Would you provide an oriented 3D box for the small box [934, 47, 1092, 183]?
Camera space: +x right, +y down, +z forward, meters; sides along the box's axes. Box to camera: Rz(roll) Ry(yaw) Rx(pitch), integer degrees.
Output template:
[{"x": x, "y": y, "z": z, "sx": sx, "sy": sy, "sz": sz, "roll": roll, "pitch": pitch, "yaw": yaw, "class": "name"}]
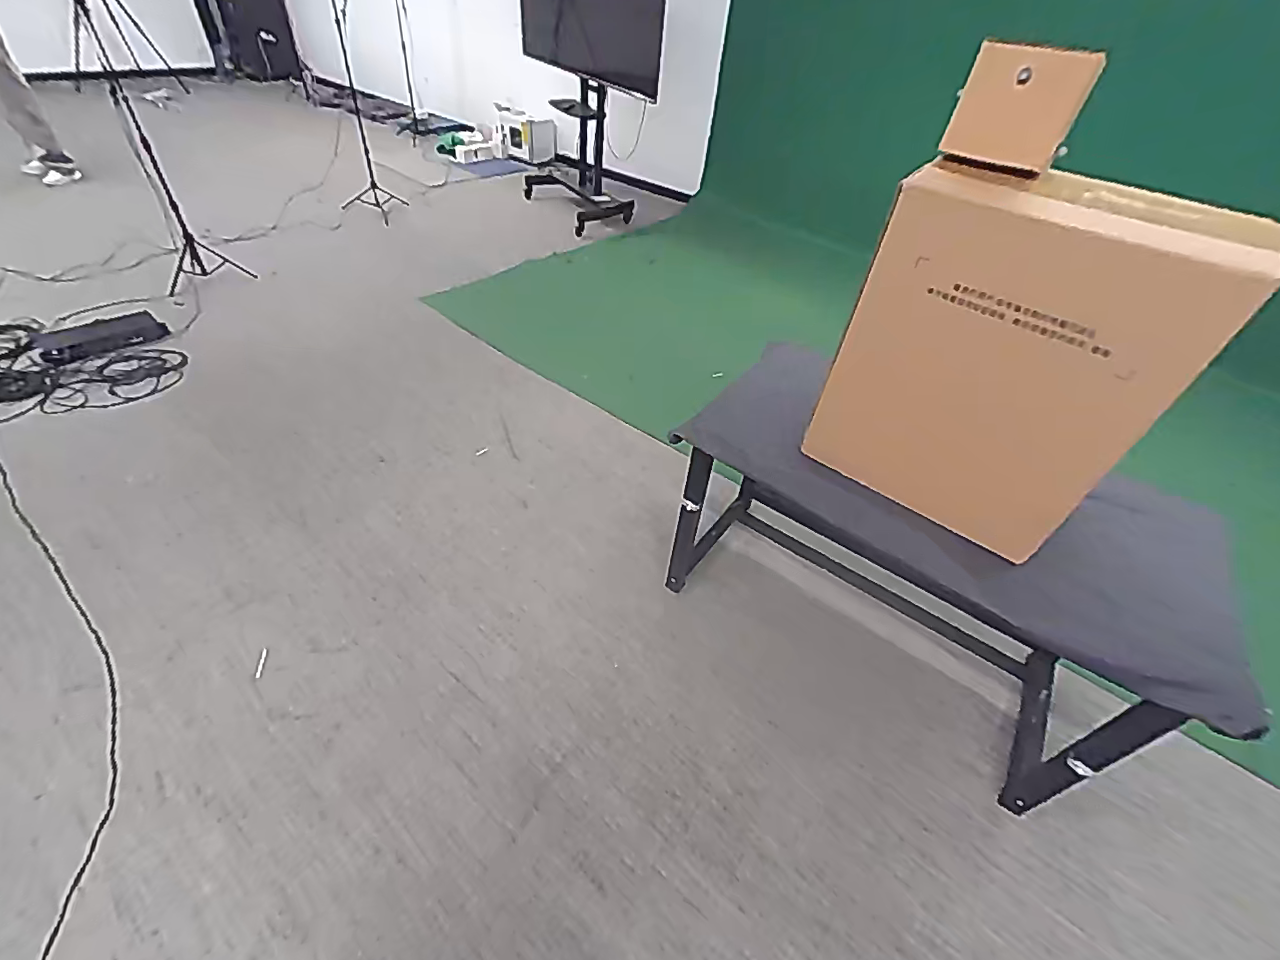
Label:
[{"x": 0.667, "y": -0.652, "z": 0.977, "sx": 0.179, "sy": 0.176, "sz": 0.168, "roll": 31, "pitch": 41, "yaw": 22, "class": "small box"}]
